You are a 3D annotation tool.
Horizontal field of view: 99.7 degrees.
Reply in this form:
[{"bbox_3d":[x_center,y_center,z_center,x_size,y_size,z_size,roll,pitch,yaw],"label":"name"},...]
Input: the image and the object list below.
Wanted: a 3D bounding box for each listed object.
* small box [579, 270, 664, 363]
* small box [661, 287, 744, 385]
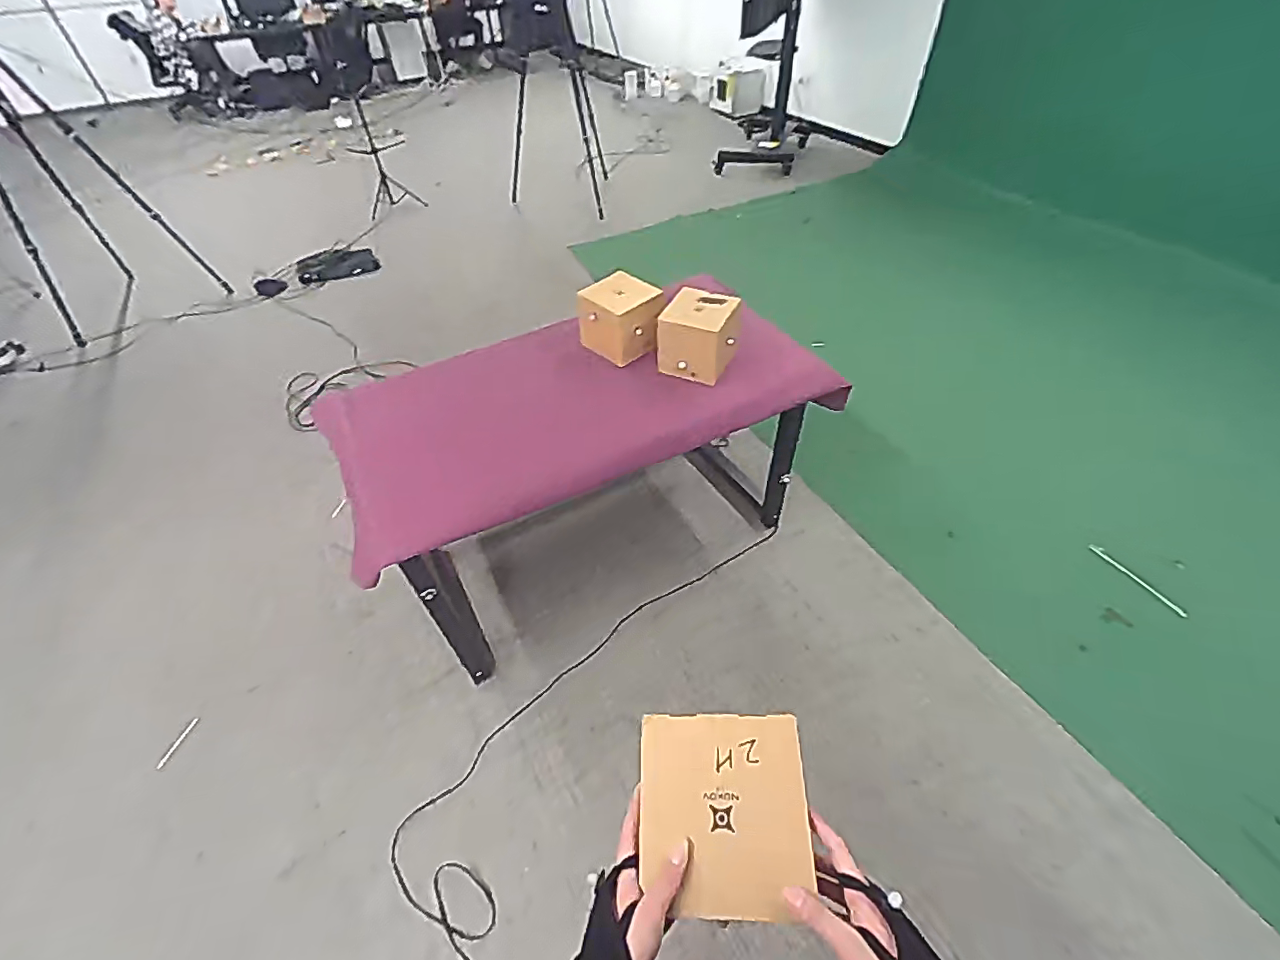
[{"bbox_3d":[-0.046,-0.452,1.512,0.168,0.176,0.179,-37,56,-27],"label":"small box"},{"bbox_3d":[0.163,-0.383,1.437,0.168,0.176,0.179,19,52,20],"label":"small box"}]
